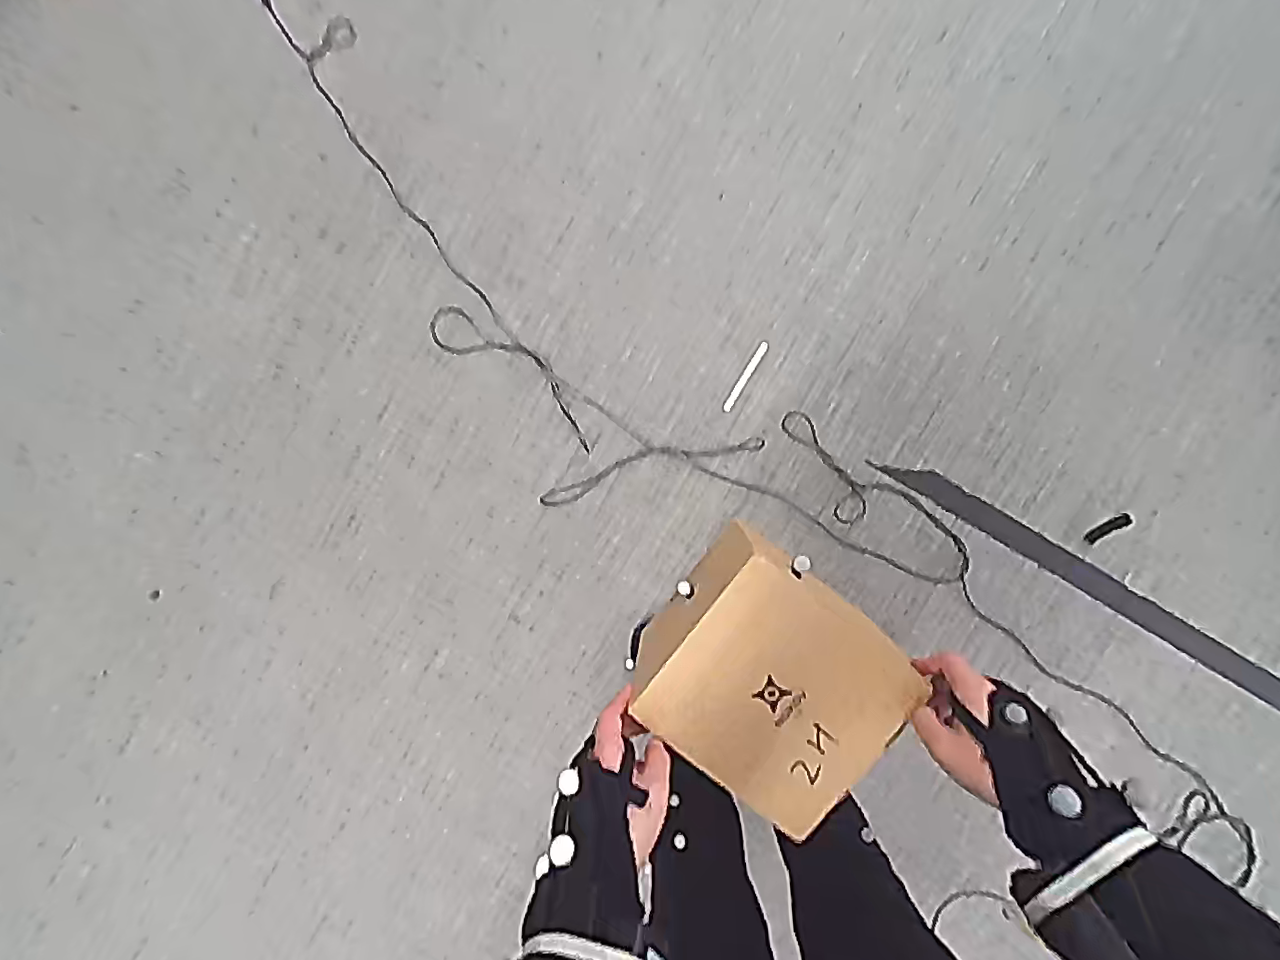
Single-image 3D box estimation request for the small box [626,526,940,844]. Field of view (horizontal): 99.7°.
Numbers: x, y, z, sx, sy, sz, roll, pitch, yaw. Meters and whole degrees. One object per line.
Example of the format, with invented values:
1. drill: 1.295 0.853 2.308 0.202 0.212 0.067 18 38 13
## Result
1. small box: 0.109 0.157 0.483 0.179 0.176 0.168 38 97 0
